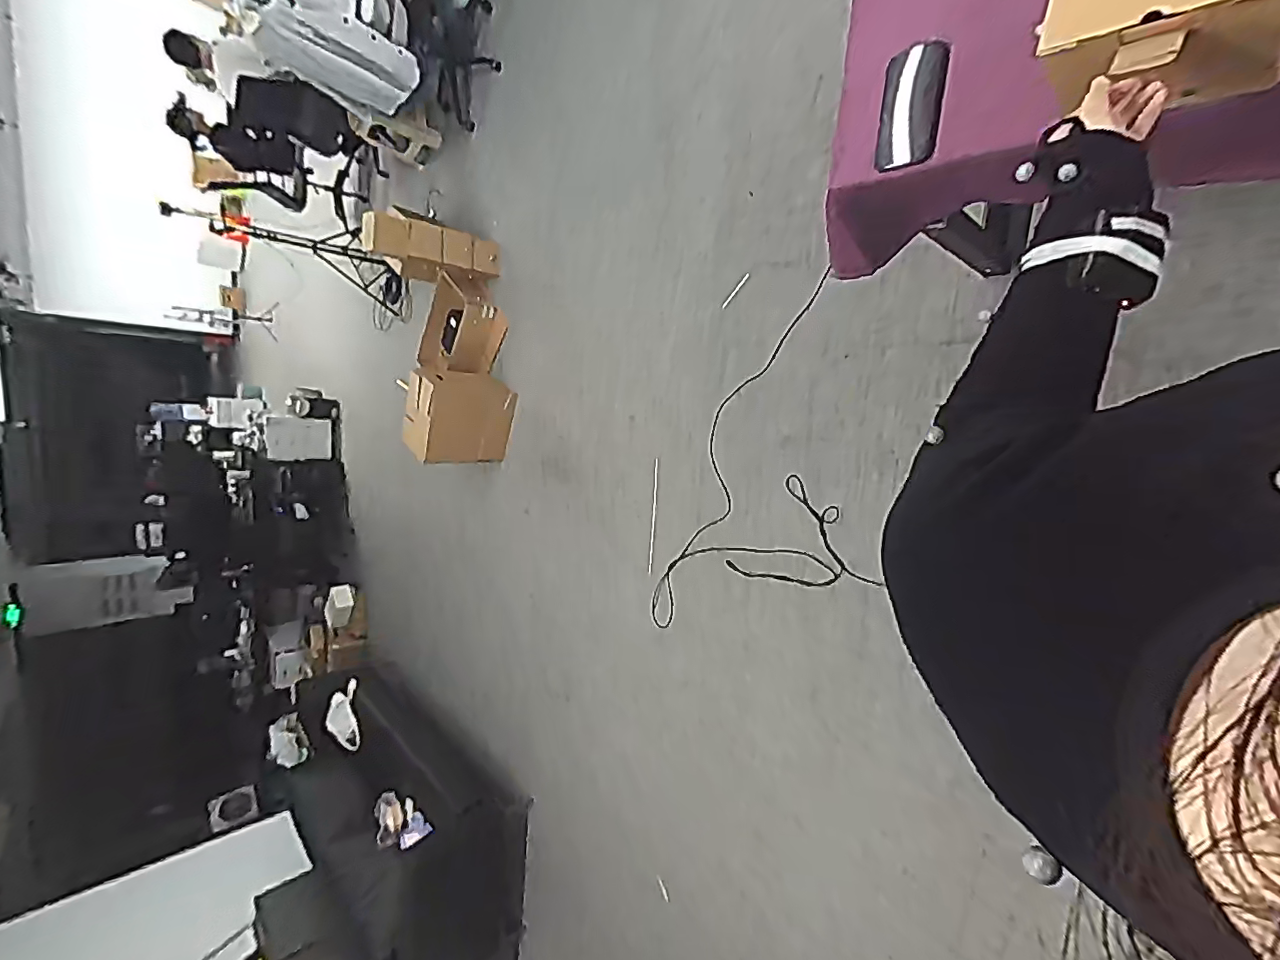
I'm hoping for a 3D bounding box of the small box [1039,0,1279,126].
[{"bbox_3d":[0.509,-0.476,0.509,0.168,0.176,0.179,18,105,43],"label":"small box"}]
